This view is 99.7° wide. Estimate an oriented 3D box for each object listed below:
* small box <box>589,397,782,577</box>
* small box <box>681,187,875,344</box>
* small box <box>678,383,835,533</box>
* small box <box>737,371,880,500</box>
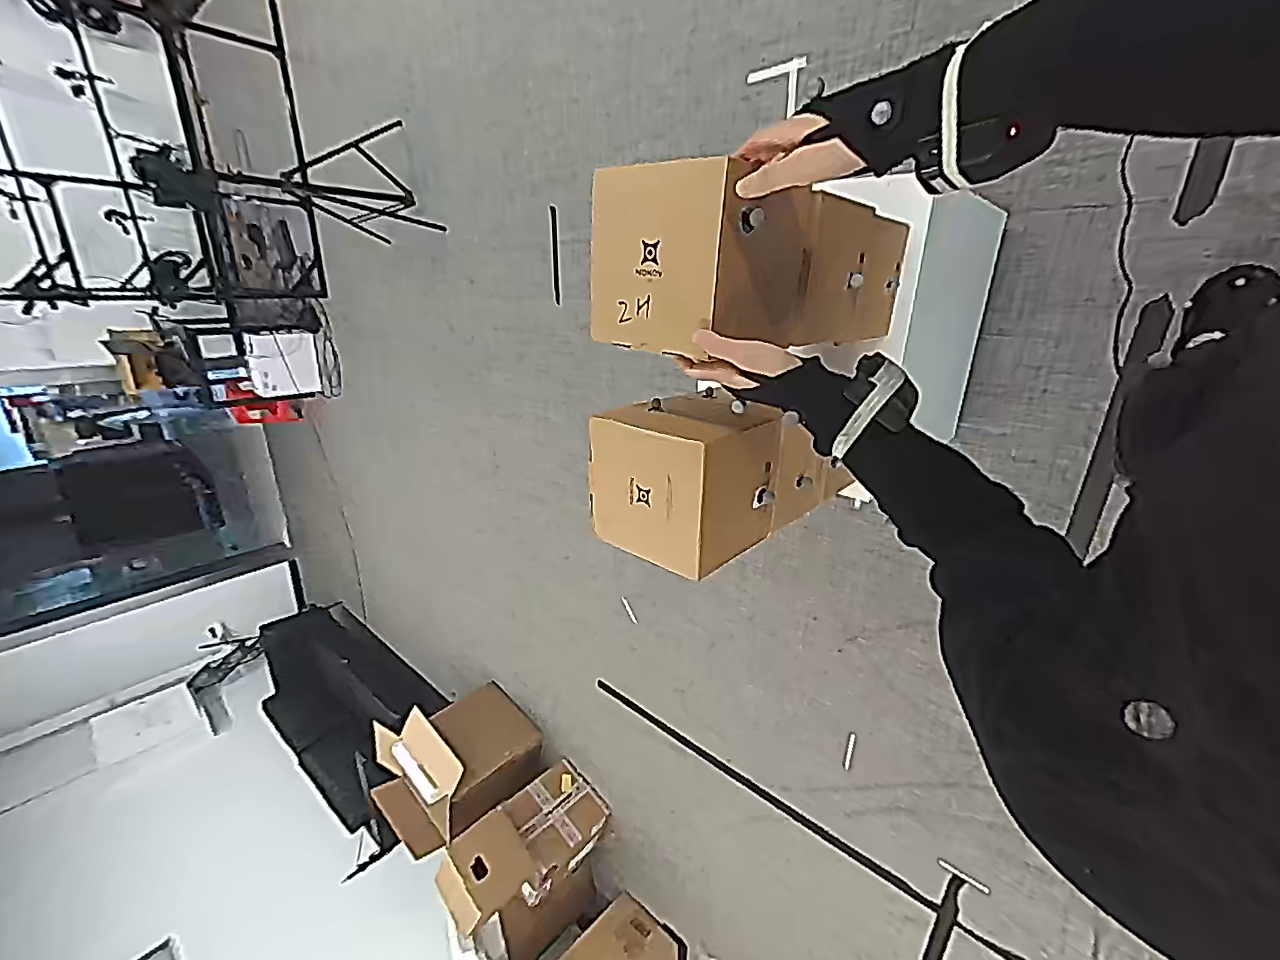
[{"bbox_3d":[0.056,-0.006,0.684,0.179,0.176,0.168,17,117,39],"label":"small box"},{"bbox_3d":[0.176,-0.275,0.702,0.179,0.176,0.168,20,118,37],"label":"small box"},{"bbox_3d":[0.166,-0.045,0.797,0.179,0.176,0.168,18,116,39],"label":"small box"},{"bbox_3d":[0.274,-0.085,0.911,0.179,0.176,0.168,20,118,39],"label":"small box"}]
